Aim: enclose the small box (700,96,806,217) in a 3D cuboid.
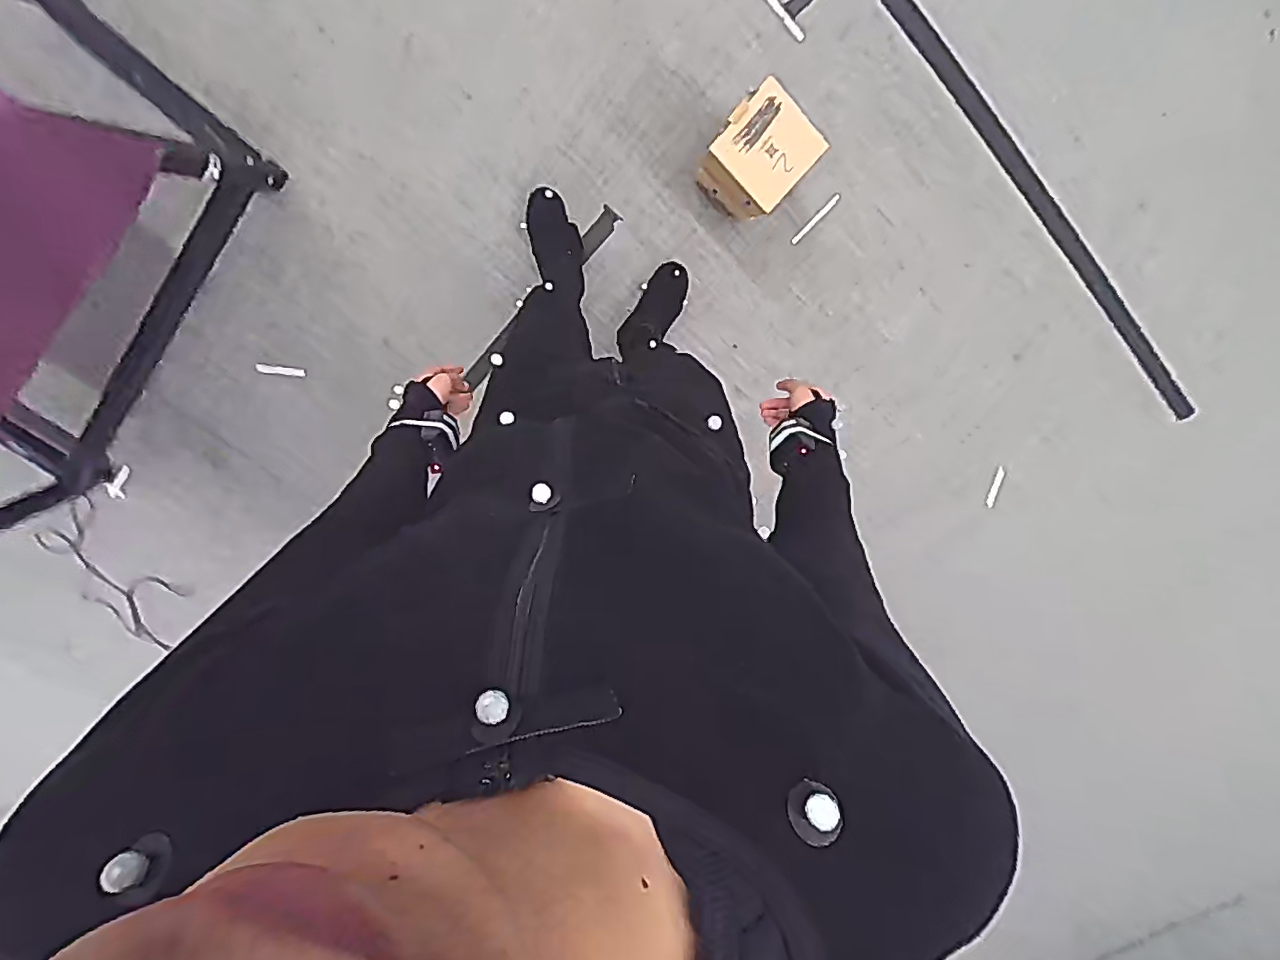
[{"bbox_3d":[0.256,-0.748,1.276,0.168,0.176,0.179,37,109,-15],"label":"small box"}]
